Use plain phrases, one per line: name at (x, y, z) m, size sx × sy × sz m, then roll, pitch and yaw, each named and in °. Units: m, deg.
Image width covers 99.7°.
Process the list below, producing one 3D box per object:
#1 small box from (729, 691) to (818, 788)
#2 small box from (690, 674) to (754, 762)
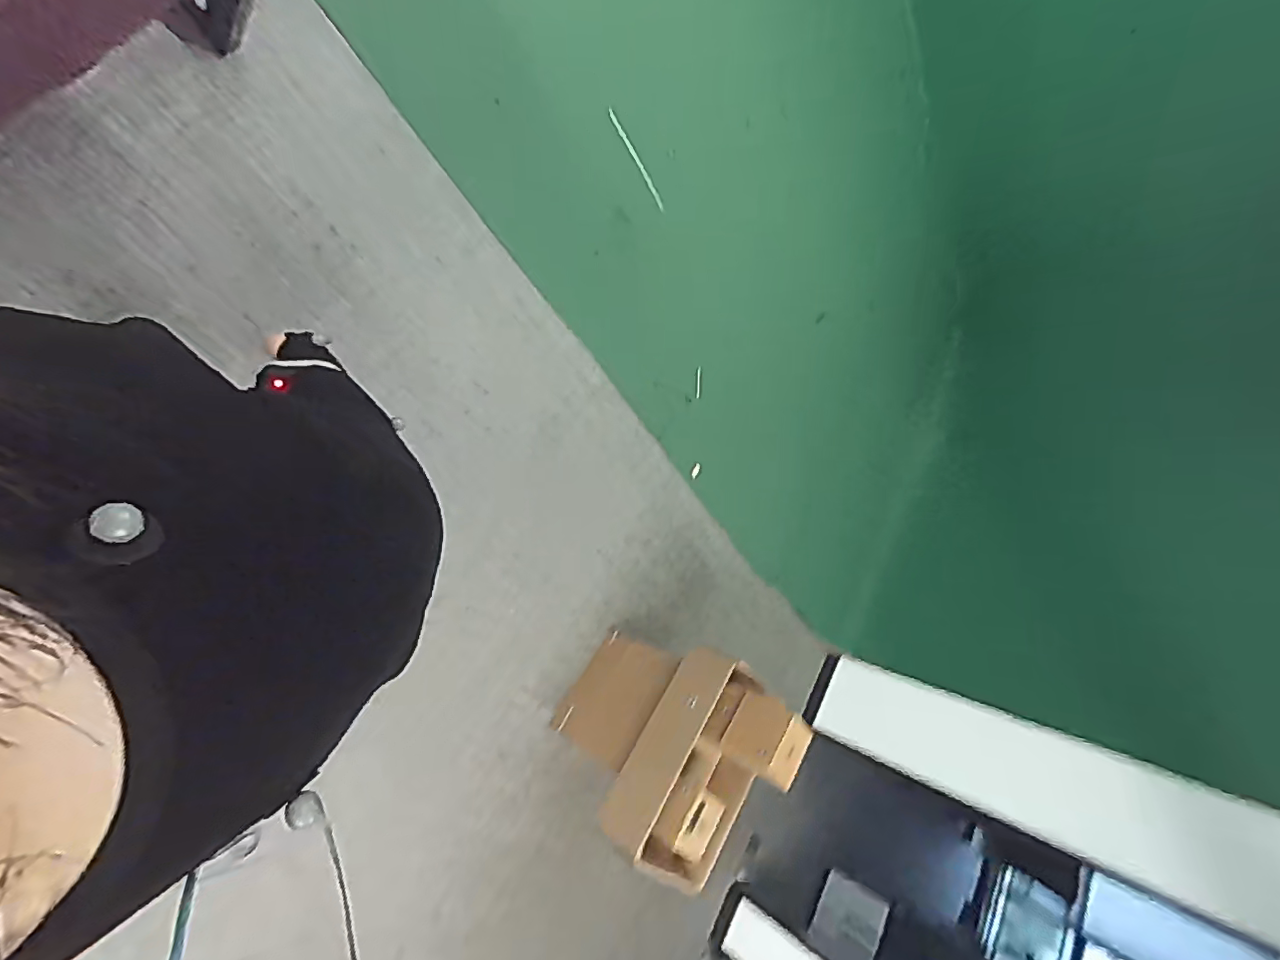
small box at (0.392, 0.758, 1.595) m, size 0.179 × 0.176 × 0.168 m, roll -54°, pitch 127°, yaw -22°
small box at (0.289, 0.752, 1.722) m, size 0.179 × 0.176 × 0.168 m, roll -54°, pitch 127°, yaw -22°
